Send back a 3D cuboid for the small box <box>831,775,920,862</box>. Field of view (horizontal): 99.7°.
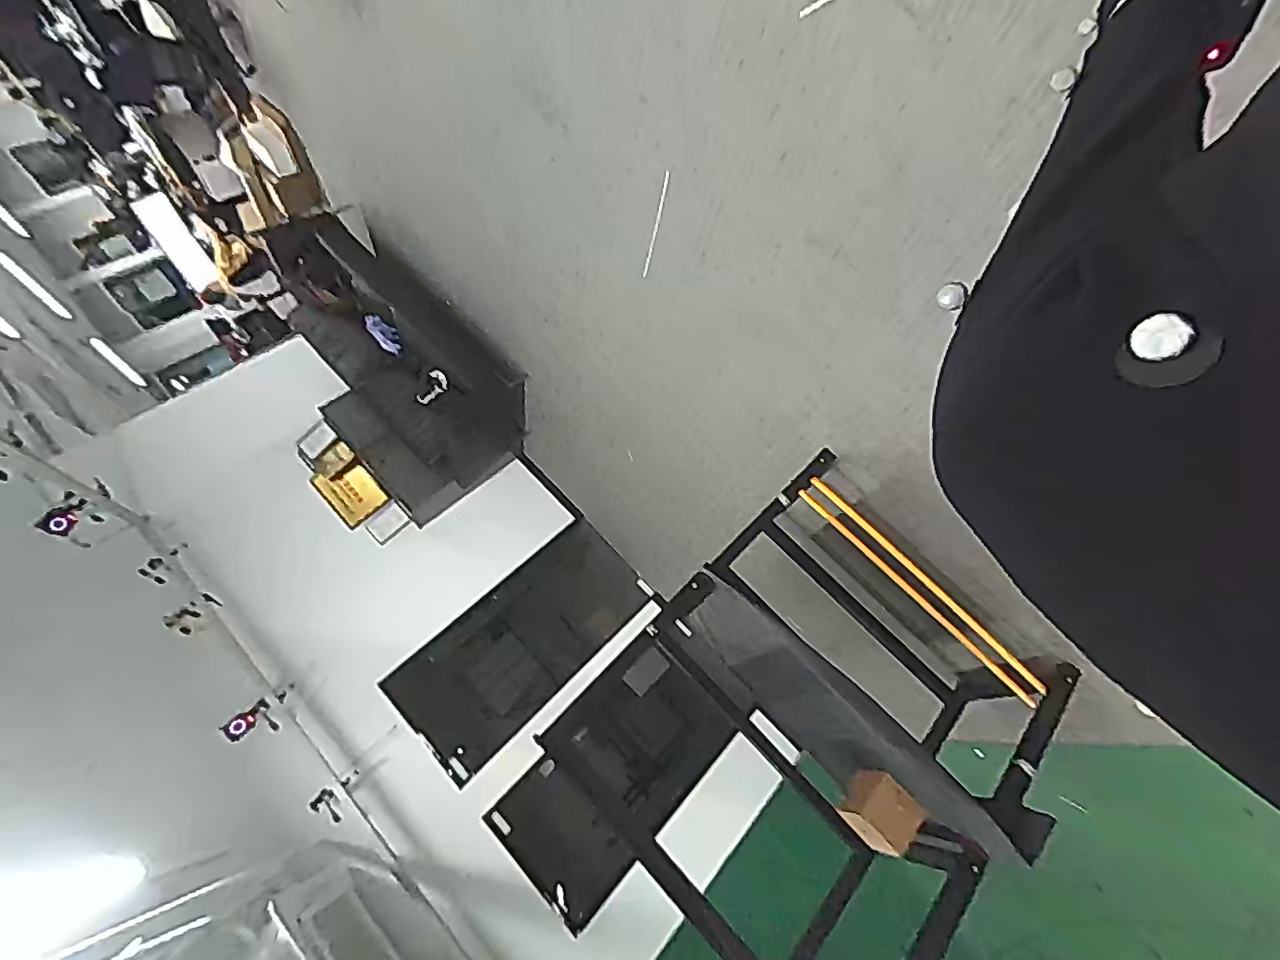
[{"bbox_3d":[0.773,1.100,1.773,0.168,0.176,0.179,45,155,12],"label":"small box"}]
